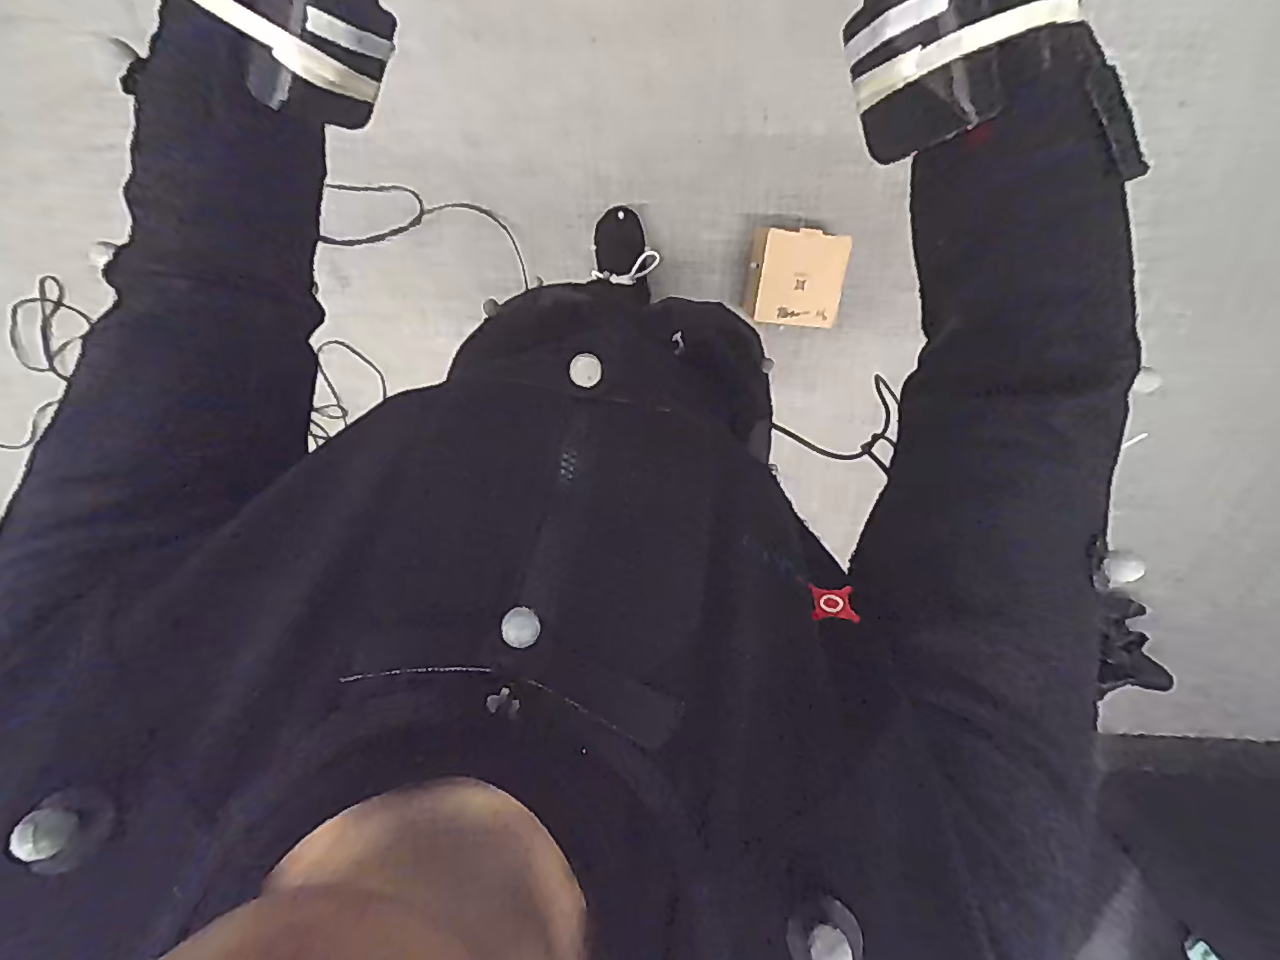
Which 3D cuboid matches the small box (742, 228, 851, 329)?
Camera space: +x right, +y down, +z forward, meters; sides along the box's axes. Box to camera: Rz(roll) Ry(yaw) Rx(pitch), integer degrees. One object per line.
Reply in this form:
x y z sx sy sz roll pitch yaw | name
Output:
0.317 -0.427 1.137 0.168 0.176 0.179 5 115 -1 | small box
